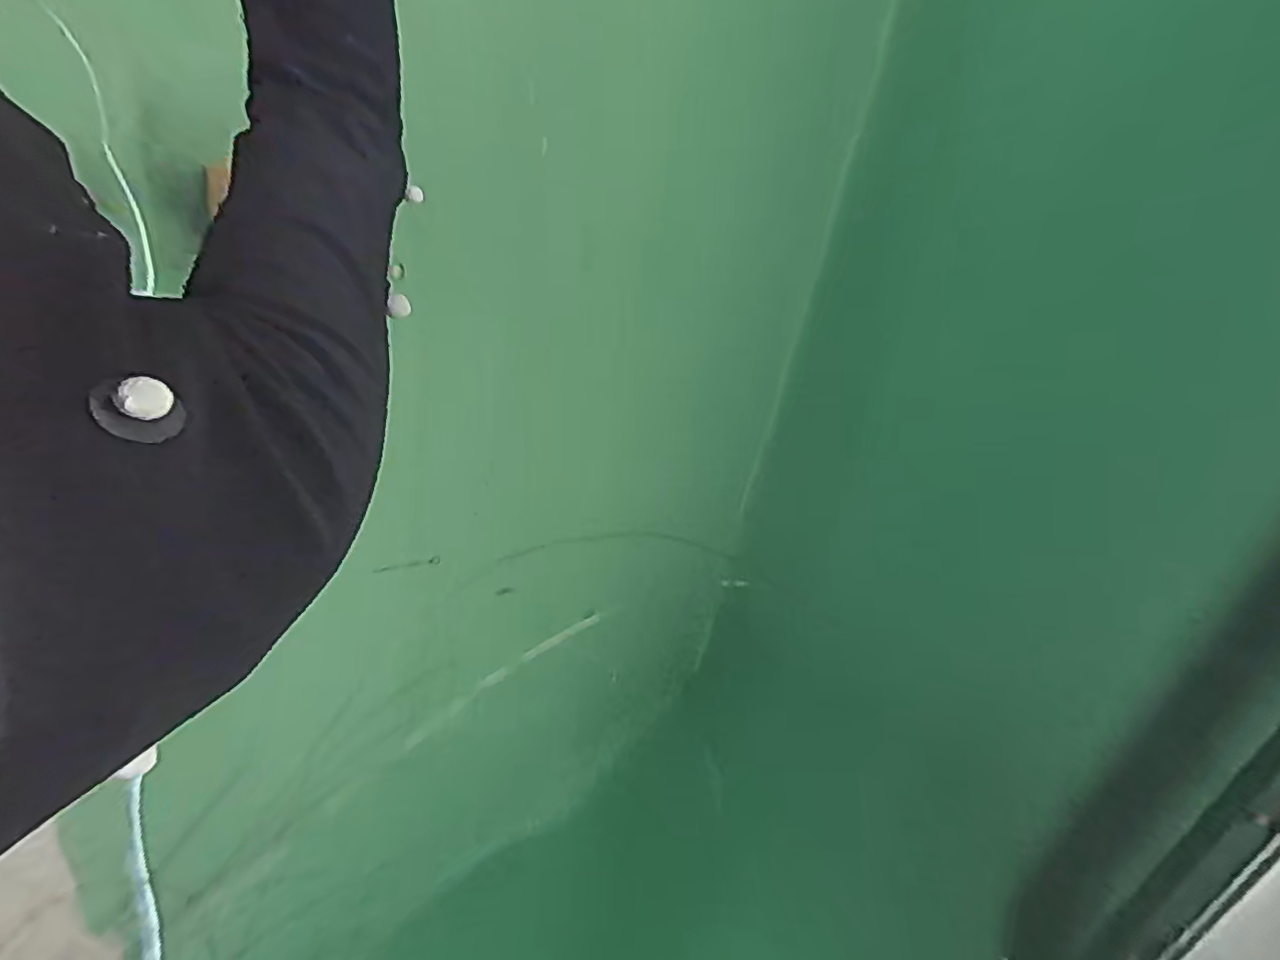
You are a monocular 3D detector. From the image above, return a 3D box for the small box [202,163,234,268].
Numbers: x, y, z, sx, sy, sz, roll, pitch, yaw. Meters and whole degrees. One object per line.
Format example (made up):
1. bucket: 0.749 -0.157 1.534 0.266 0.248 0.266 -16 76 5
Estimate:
1. small box: -0.776 -0.530 1.112 0.168 0.176 0.179 -12 122 -47
